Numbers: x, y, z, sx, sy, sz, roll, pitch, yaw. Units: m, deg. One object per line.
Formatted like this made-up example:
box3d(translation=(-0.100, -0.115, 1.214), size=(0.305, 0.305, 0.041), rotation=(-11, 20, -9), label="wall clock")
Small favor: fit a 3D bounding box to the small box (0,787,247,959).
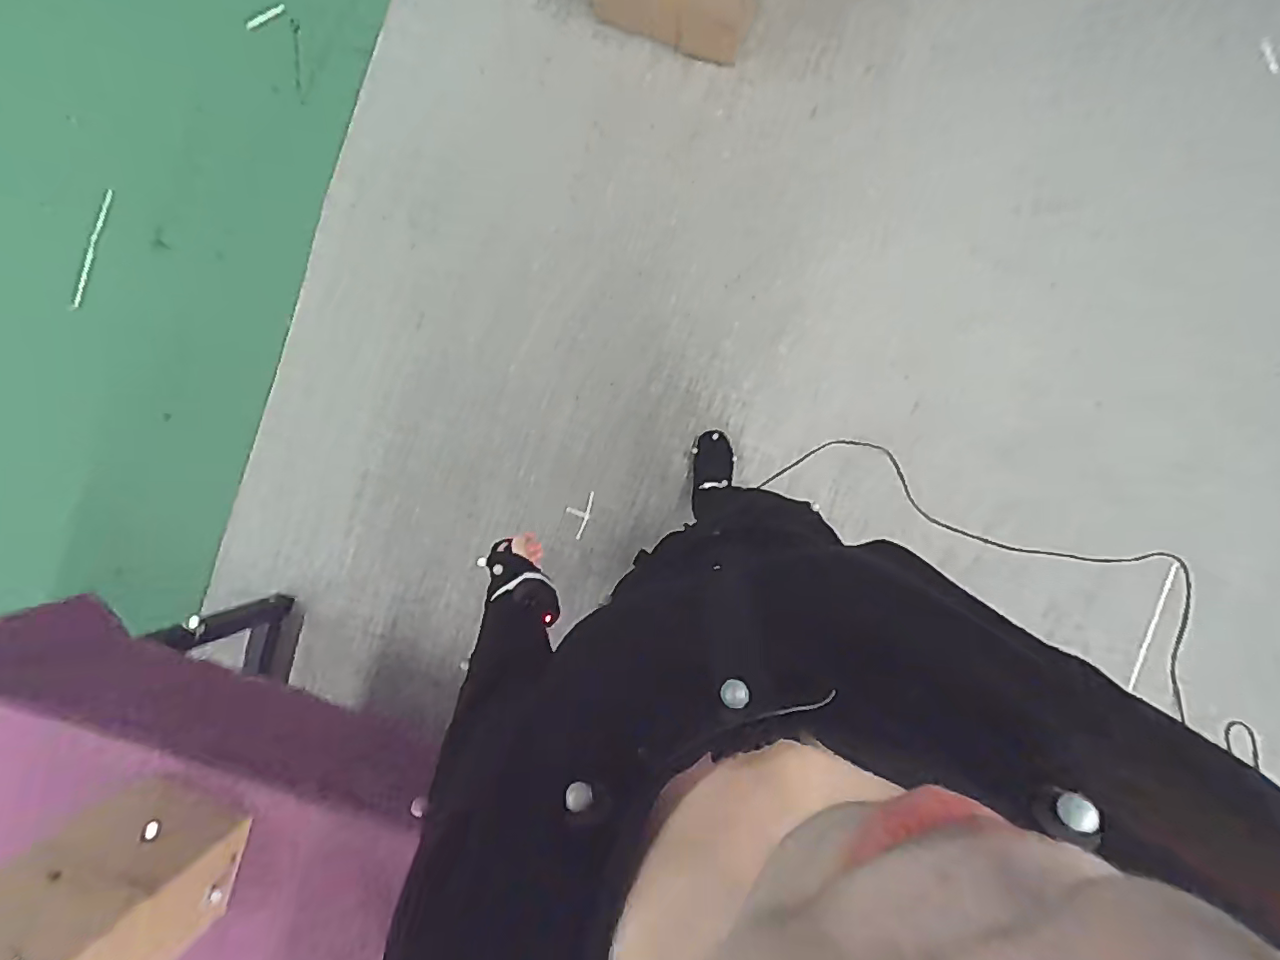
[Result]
box3d(translation=(-0.699, 0.560, 0.740), size=(0.179, 0.176, 0.168), rotation=(18, 92, 3), label="small box")
